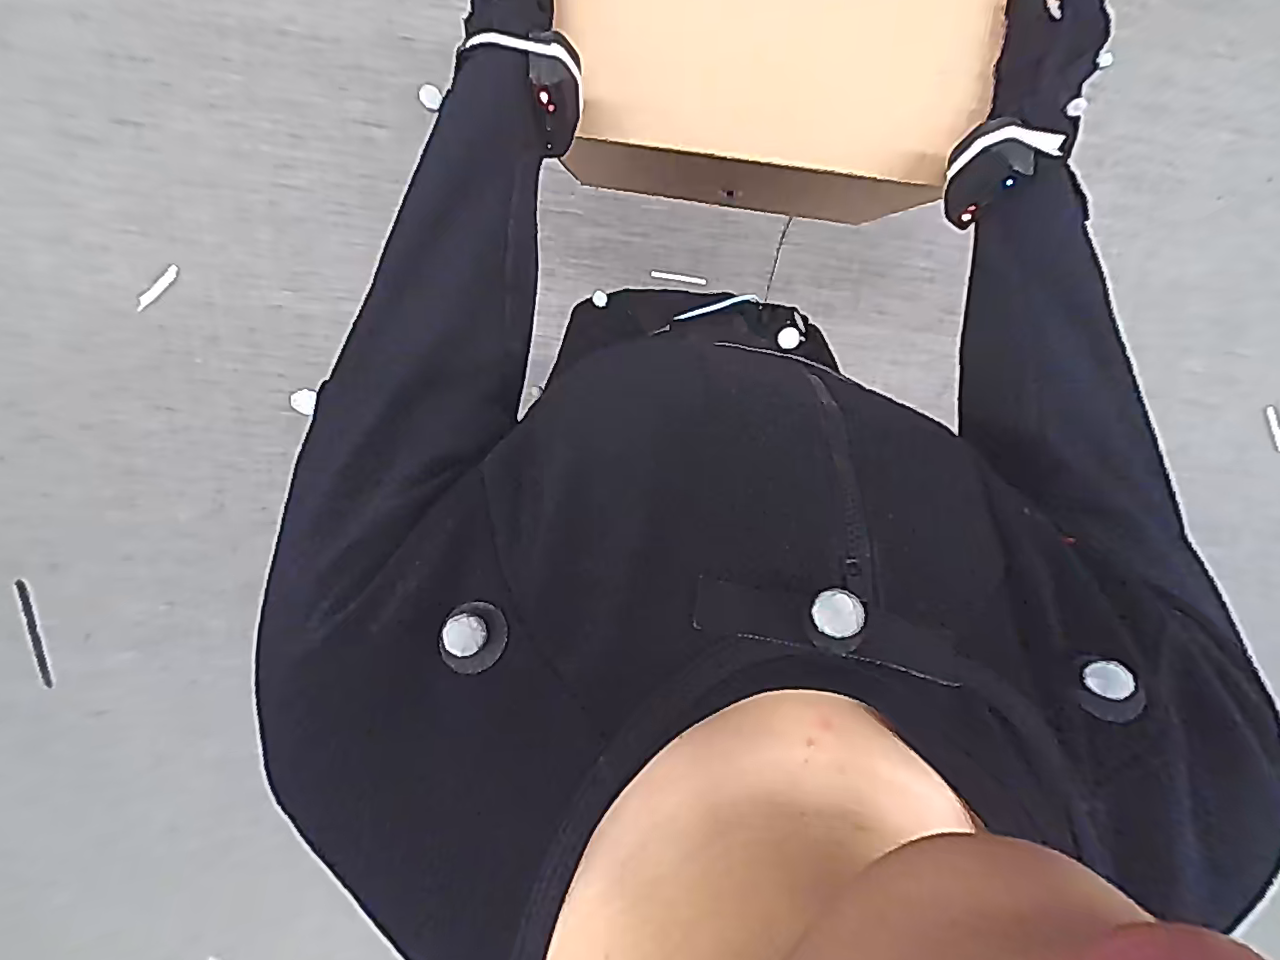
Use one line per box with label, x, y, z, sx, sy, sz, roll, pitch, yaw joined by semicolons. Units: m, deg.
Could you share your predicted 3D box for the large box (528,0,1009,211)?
large box;0.123;-0.494;0.579;0.408;0.320;0.320;9;110;0
